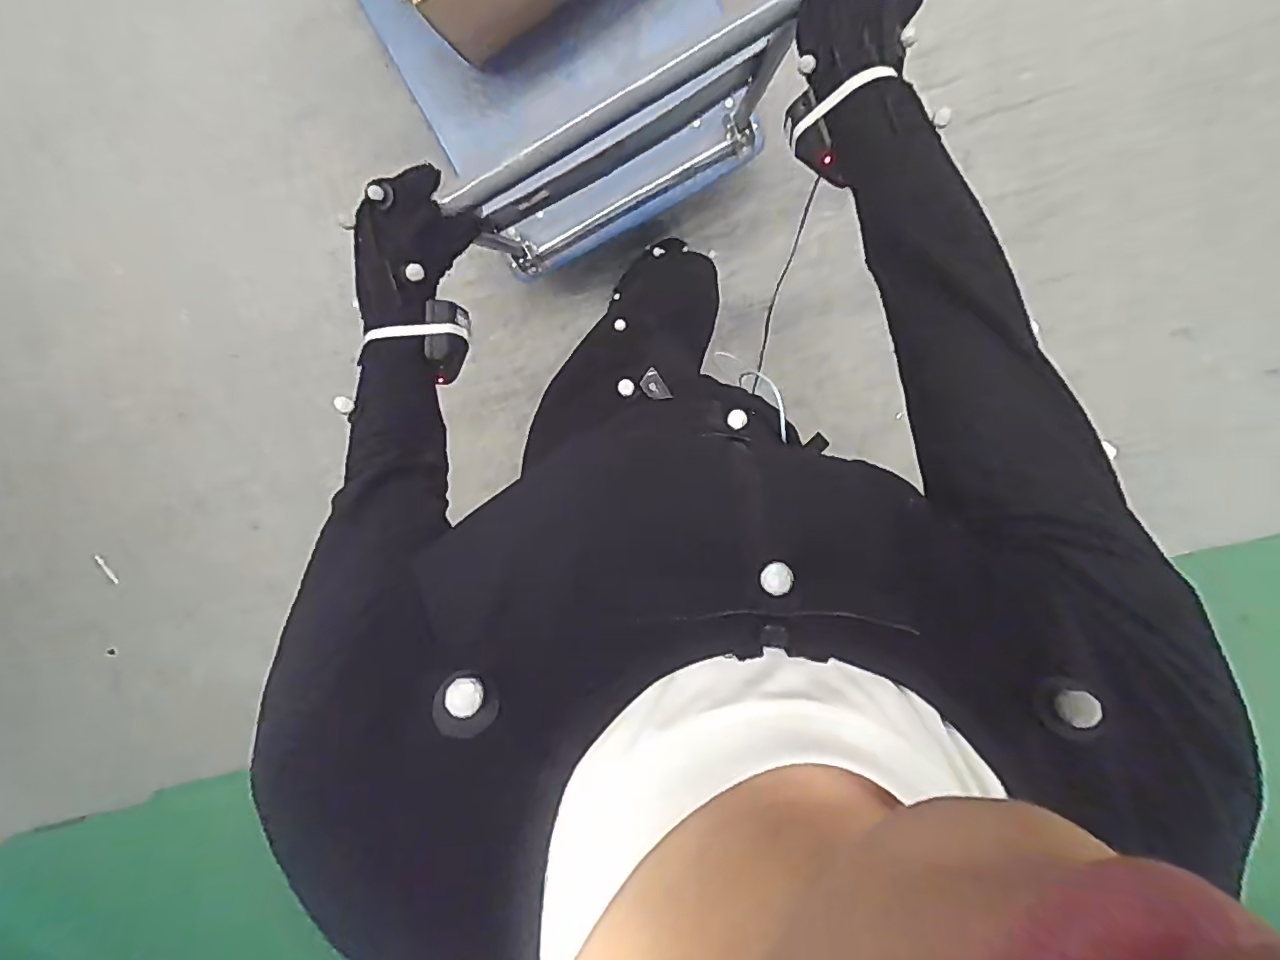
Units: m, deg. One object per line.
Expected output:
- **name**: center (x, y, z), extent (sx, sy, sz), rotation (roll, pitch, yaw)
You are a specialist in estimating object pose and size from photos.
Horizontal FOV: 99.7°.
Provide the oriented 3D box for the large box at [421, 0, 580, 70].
- **large box**: center (-0.196, -0.919, 0.793), extent (0.408, 0.320, 0.320), rotation (-28, 110, 12)
